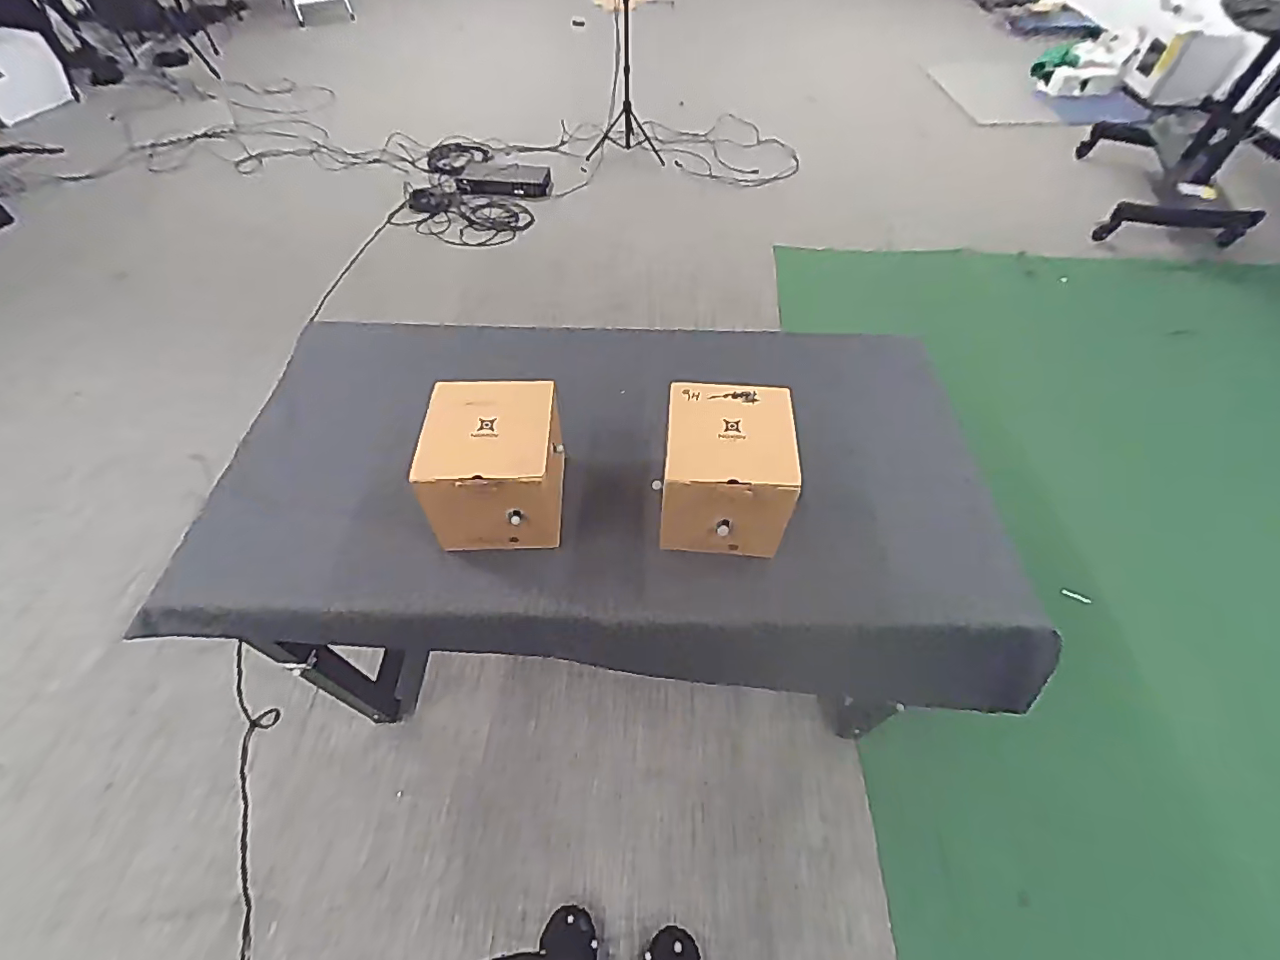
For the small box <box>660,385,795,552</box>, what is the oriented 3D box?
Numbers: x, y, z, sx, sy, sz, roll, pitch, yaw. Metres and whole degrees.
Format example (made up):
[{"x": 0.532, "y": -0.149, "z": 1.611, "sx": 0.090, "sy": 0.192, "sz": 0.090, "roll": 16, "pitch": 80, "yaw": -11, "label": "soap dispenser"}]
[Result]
[{"x": 0.116, "y": -0.013, "z": 0.772, "sx": 0.168, "sy": 0.176, "sz": 0.179, "roll": 4, "pitch": 53, "yaw": 2, "label": "small box"}]

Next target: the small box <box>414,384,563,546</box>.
[{"x": -0.201, "y": -0.016, "z": 0.774, "sx": 0.168, "sy": 0.176, "sz": 0.179, "roll": -1, "pitch": 51, "yaw": -3, "label": "small box"}]
